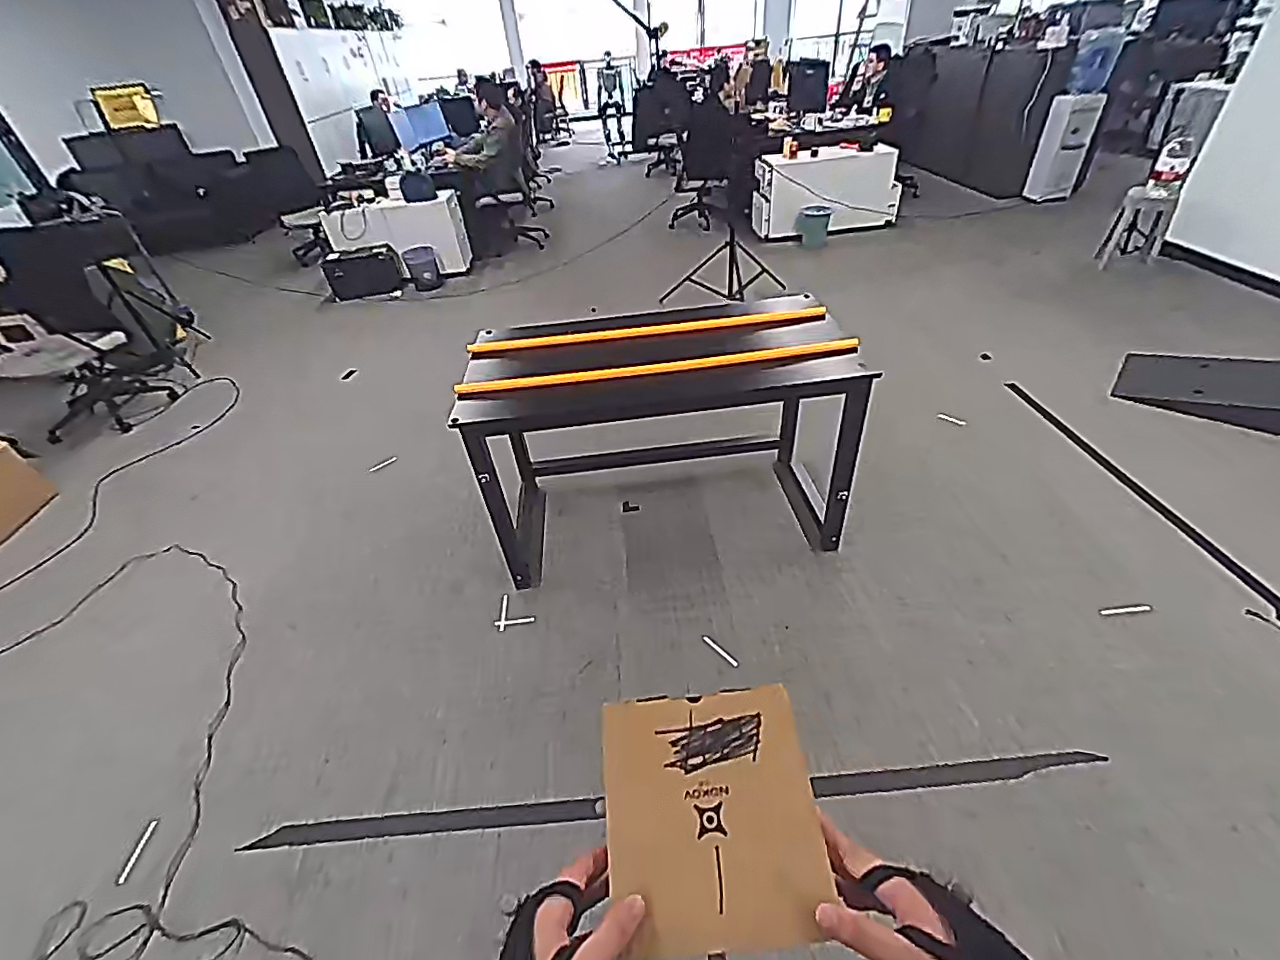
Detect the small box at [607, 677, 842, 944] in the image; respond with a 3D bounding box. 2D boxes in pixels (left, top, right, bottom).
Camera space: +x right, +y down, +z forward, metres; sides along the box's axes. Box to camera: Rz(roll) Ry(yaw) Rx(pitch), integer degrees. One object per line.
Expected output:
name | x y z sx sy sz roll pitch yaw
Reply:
small box | 0.061 0.302 0.495 0.168 0.176 0.179 -6 52 0
